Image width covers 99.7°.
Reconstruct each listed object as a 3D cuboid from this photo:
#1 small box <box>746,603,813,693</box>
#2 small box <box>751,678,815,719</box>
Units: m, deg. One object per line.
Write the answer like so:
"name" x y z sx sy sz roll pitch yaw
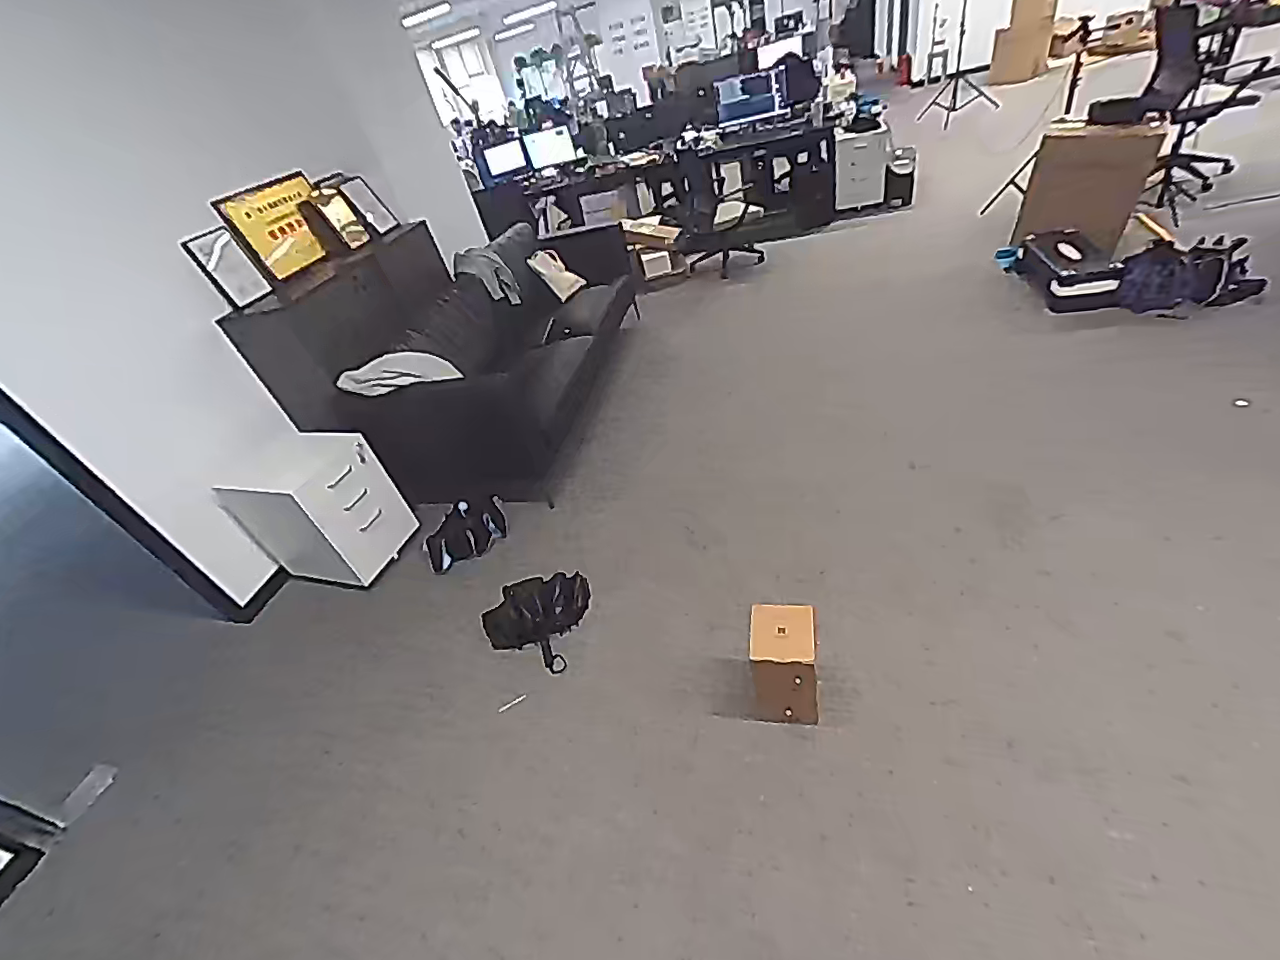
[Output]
"small box" 0.383 0.458 1.473 0.168 0.176 0.179 -2 40 16
"small box" 0.420 0.577 1.578 0.168 0.176 0.179 -4 41 16
